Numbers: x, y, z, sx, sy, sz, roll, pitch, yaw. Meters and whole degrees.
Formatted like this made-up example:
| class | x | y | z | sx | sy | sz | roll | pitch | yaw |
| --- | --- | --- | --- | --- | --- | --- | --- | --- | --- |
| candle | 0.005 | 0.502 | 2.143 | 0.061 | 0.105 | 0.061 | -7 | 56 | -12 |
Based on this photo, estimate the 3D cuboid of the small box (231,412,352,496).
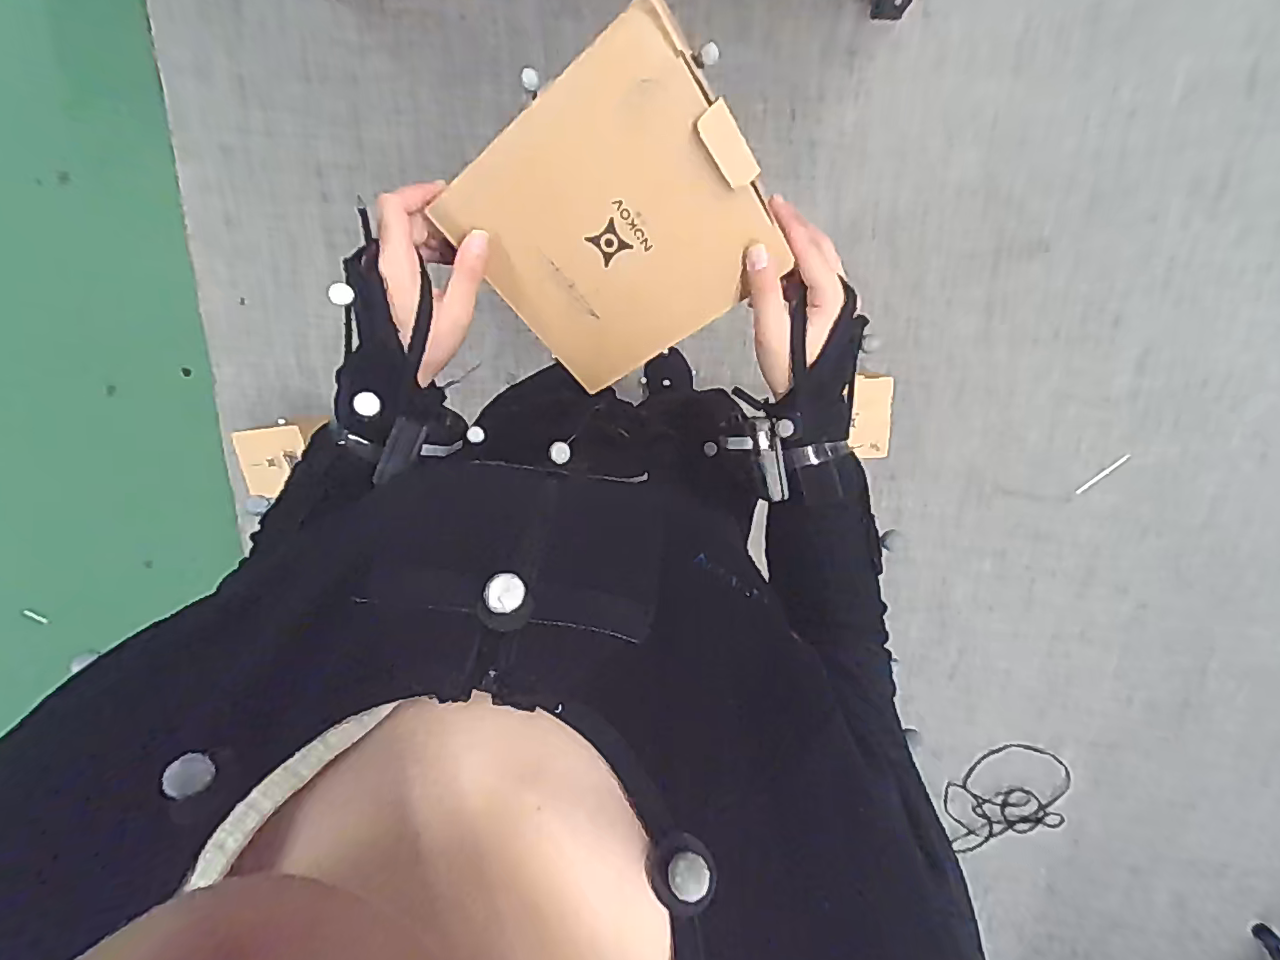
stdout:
| class | x | y | z | sx | sy | sz | roll | pitch | yaw |
| --- | --- | --- | --- | --- | --- | --- | --- | --- | --- |
| small box | -0.838 | -0.068 | 1.327 | 0.179 | 0.176 | 0.168 | -5 | 105 | 6 |

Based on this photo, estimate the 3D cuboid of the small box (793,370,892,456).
| class | x | y | z | sx | sy | sz | roll | pitch | yaw |
| --- | --- | --- | --- | --- | --- | --- | --- | --- | --- |
| small box | 0.447 | -0.156 | 1.220 | 0.168 | 0.176 | 0.179 | -1 | 105 | 4 |

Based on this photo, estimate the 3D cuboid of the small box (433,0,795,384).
| class | x | y | z | sx | sy | sz | roll | pitch | yaw |
| --- | --- | --- | --- | --- | --- | --- | --- | --- | --- |
| small box | -0.012 | -0.212 | 0.401 | 0.179 | 0.176 | 0.168 | -28 | 124 | 26 |
